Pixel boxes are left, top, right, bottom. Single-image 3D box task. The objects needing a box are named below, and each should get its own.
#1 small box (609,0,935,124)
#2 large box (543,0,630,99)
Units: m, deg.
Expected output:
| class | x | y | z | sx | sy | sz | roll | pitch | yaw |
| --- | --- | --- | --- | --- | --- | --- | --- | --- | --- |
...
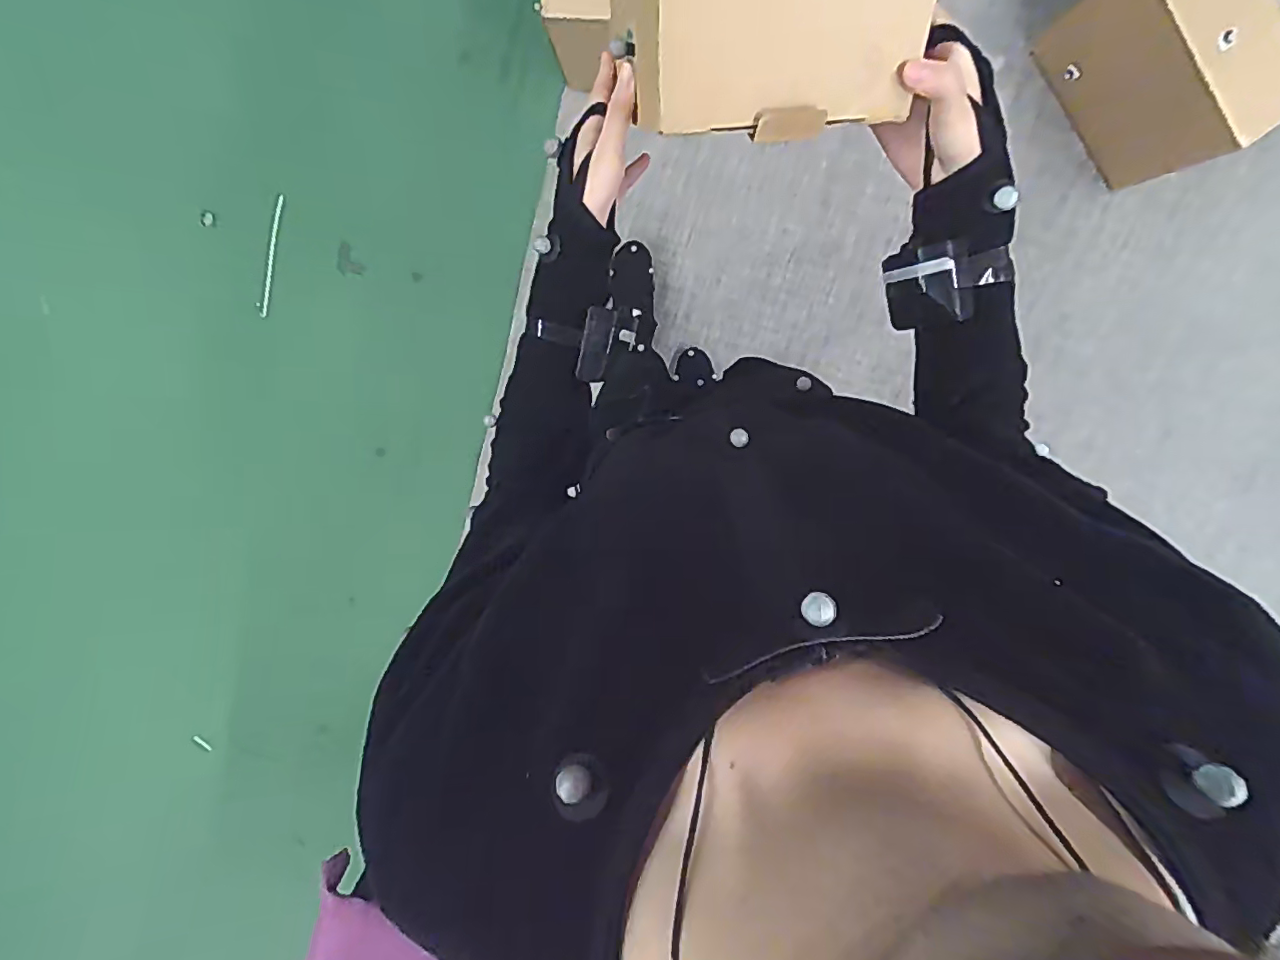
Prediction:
| class | x | y | z | sx | sy | sz | roll | pitch | yaw |
| --- | --- | --- | --- | --- | --- | --- | --- | --- | --- |
| small box | 0.072 | -0.338 | 0.339 | 0.168 | 0.176 | 0.179 | -8 | 128 | -8 |
| large box | 0.034 | -1.024 | 1.118 | 0.408 | 0.320 | 0.320 | 4 | 103 | 3 |
